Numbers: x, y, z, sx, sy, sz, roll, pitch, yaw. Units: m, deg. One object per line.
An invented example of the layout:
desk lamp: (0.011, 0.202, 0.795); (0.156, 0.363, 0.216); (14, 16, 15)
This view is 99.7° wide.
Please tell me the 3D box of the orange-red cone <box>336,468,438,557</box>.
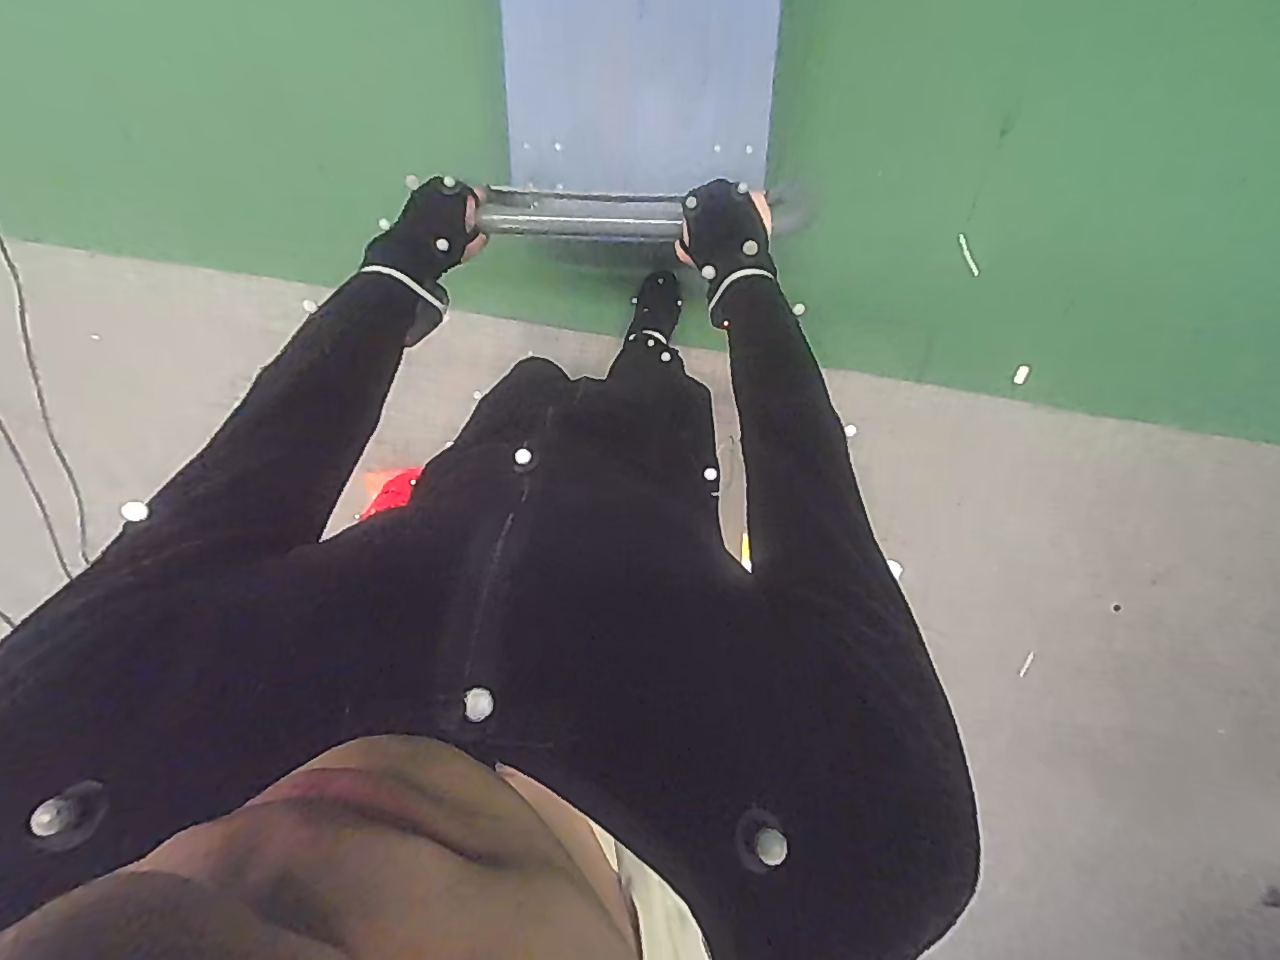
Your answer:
orange-red cone: (-0.753, 0.120, 1.542); (0.199, 0.360, 0.198); (-4, 111, 5)
